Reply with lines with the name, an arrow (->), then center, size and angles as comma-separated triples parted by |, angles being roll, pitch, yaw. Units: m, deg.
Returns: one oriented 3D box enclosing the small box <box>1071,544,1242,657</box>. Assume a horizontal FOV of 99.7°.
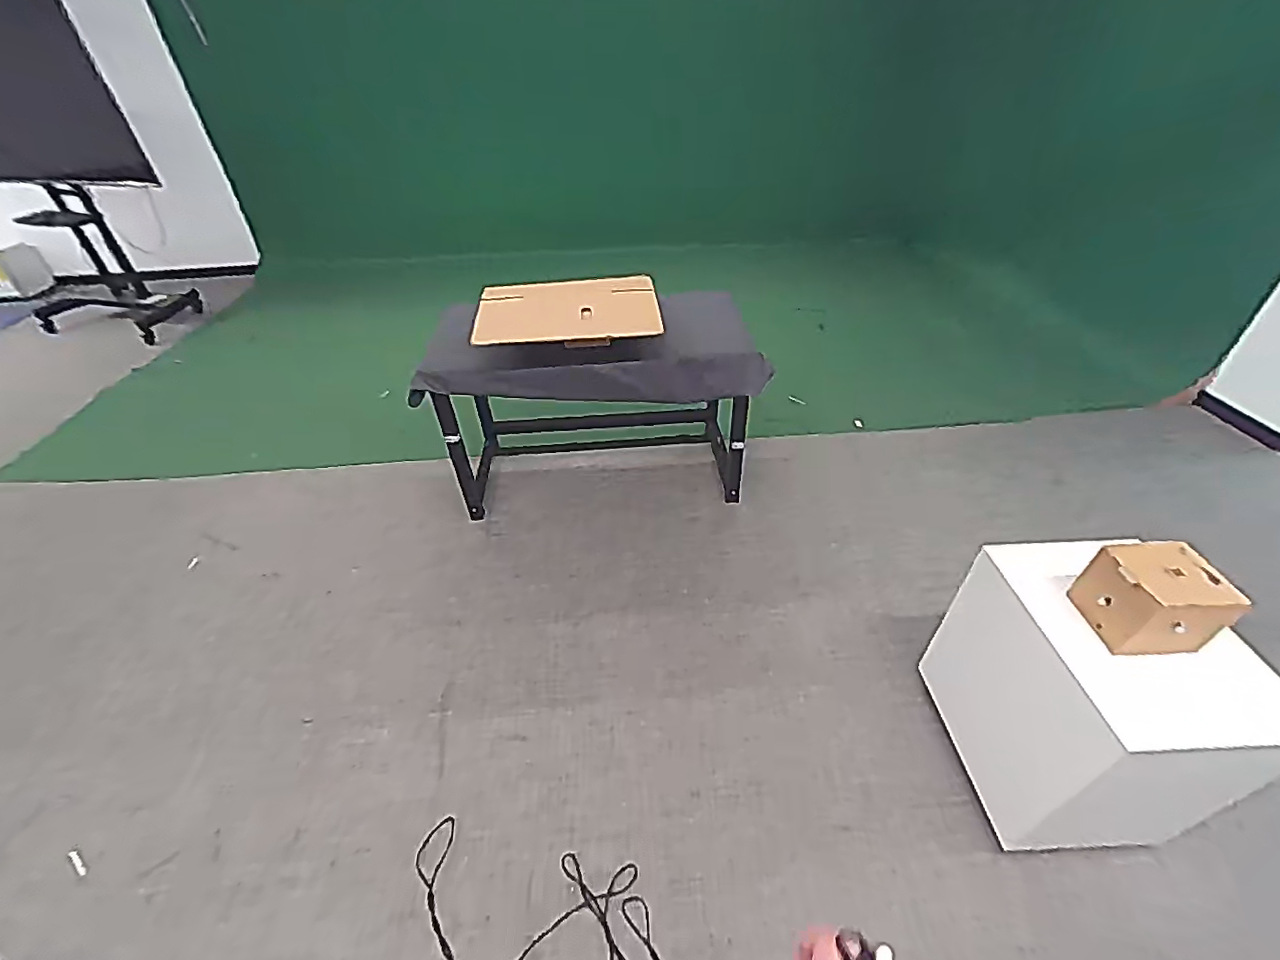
small box -> 1.056, 0.254, 1.132 | 0.179, 0.176, 0.168 | -3, 39, -3
